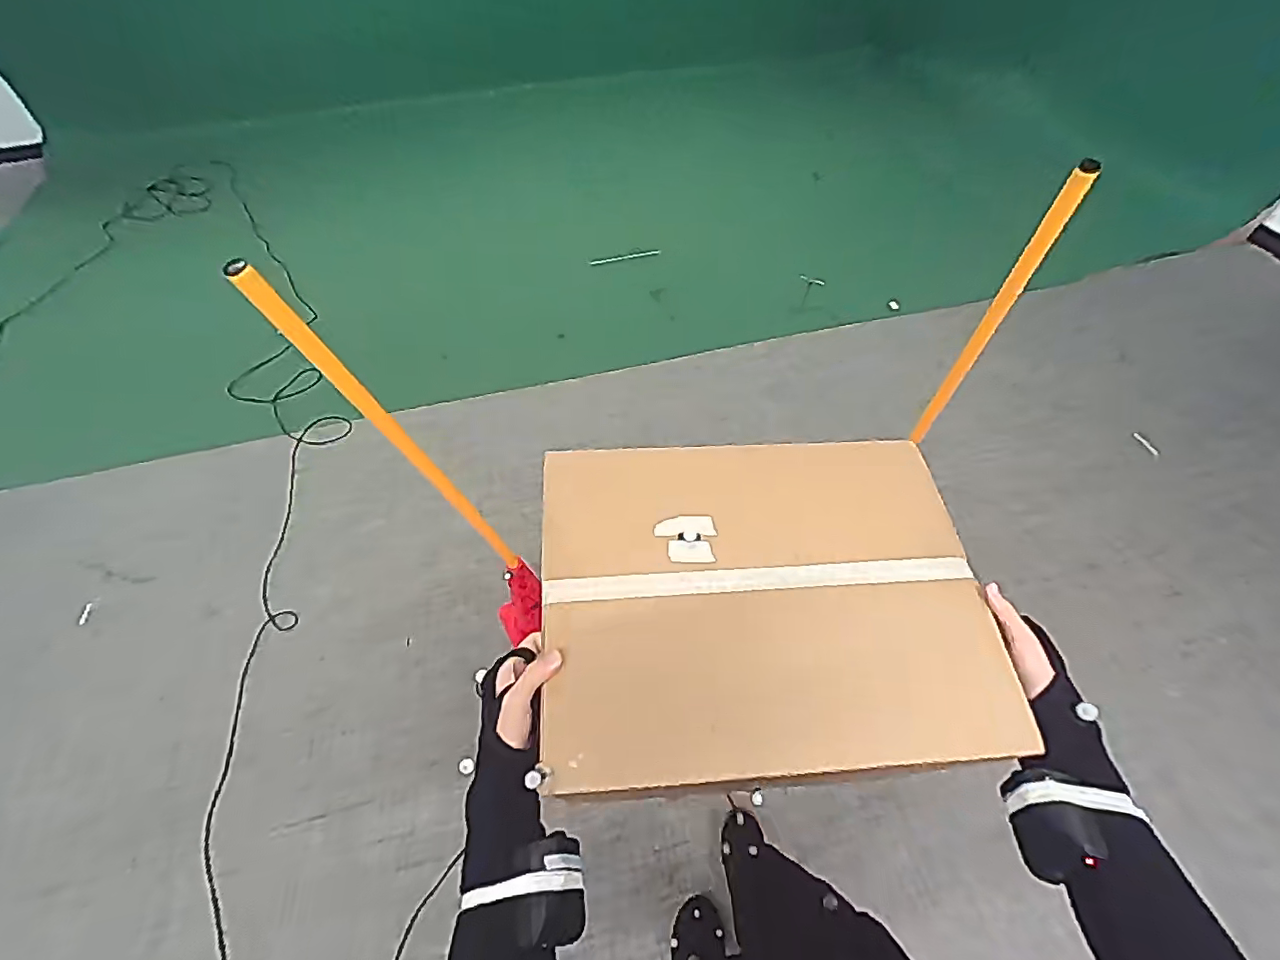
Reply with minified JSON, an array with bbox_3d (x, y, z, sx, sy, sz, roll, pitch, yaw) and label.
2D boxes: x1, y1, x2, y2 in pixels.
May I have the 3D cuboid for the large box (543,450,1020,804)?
[{"bbox_3d":[0.106,0.185,0.638,0.408,0.320,0.320,-3,57,-4],"label":"large box"}]
